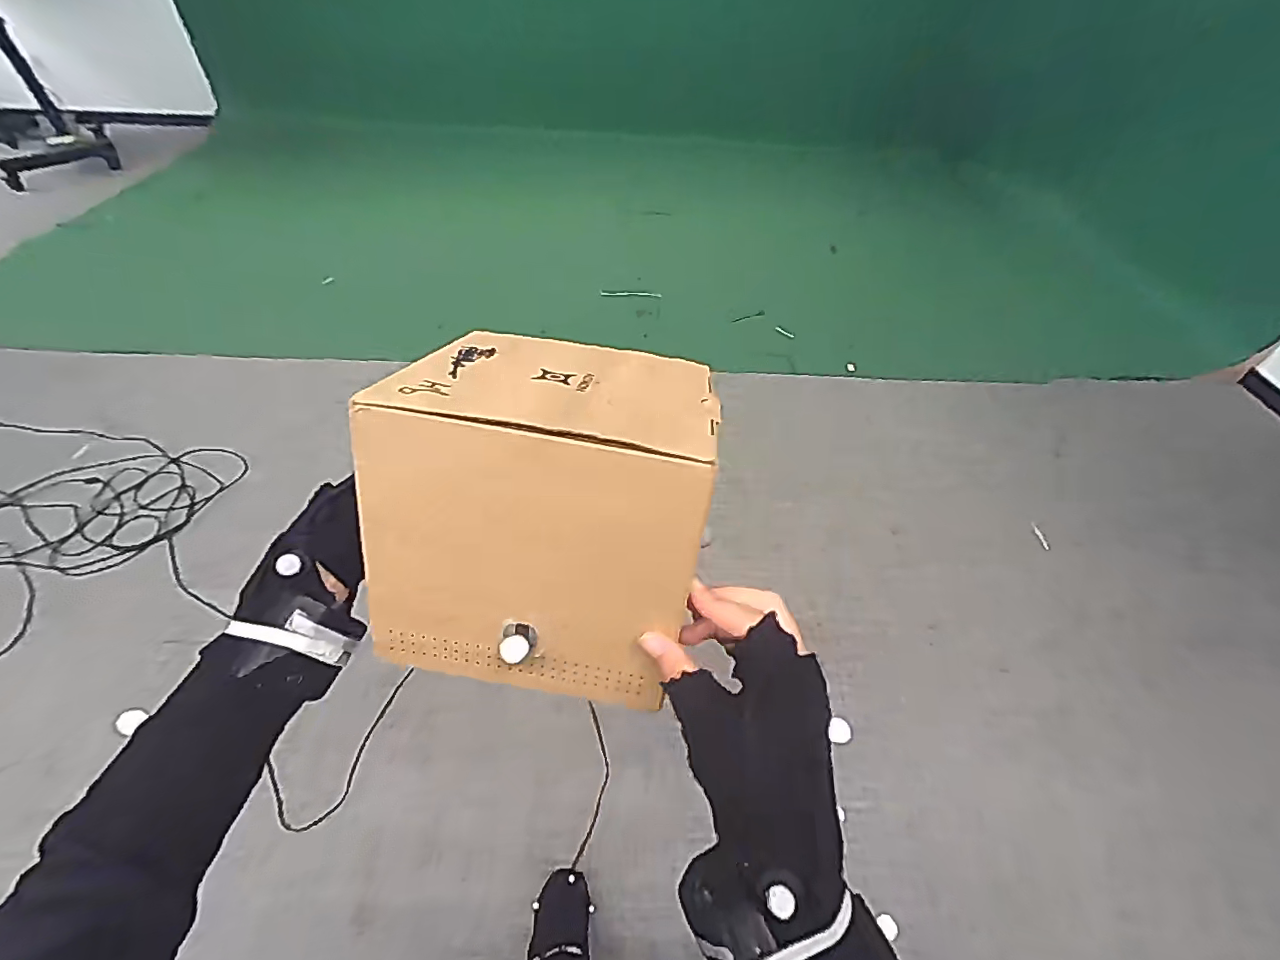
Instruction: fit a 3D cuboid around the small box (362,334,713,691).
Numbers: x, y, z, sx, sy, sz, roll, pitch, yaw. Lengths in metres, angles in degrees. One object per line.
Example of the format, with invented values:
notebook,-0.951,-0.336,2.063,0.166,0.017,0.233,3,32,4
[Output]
small box,-0.054,0.015,0.367,0.179,0.176,0.168,10,27,2
